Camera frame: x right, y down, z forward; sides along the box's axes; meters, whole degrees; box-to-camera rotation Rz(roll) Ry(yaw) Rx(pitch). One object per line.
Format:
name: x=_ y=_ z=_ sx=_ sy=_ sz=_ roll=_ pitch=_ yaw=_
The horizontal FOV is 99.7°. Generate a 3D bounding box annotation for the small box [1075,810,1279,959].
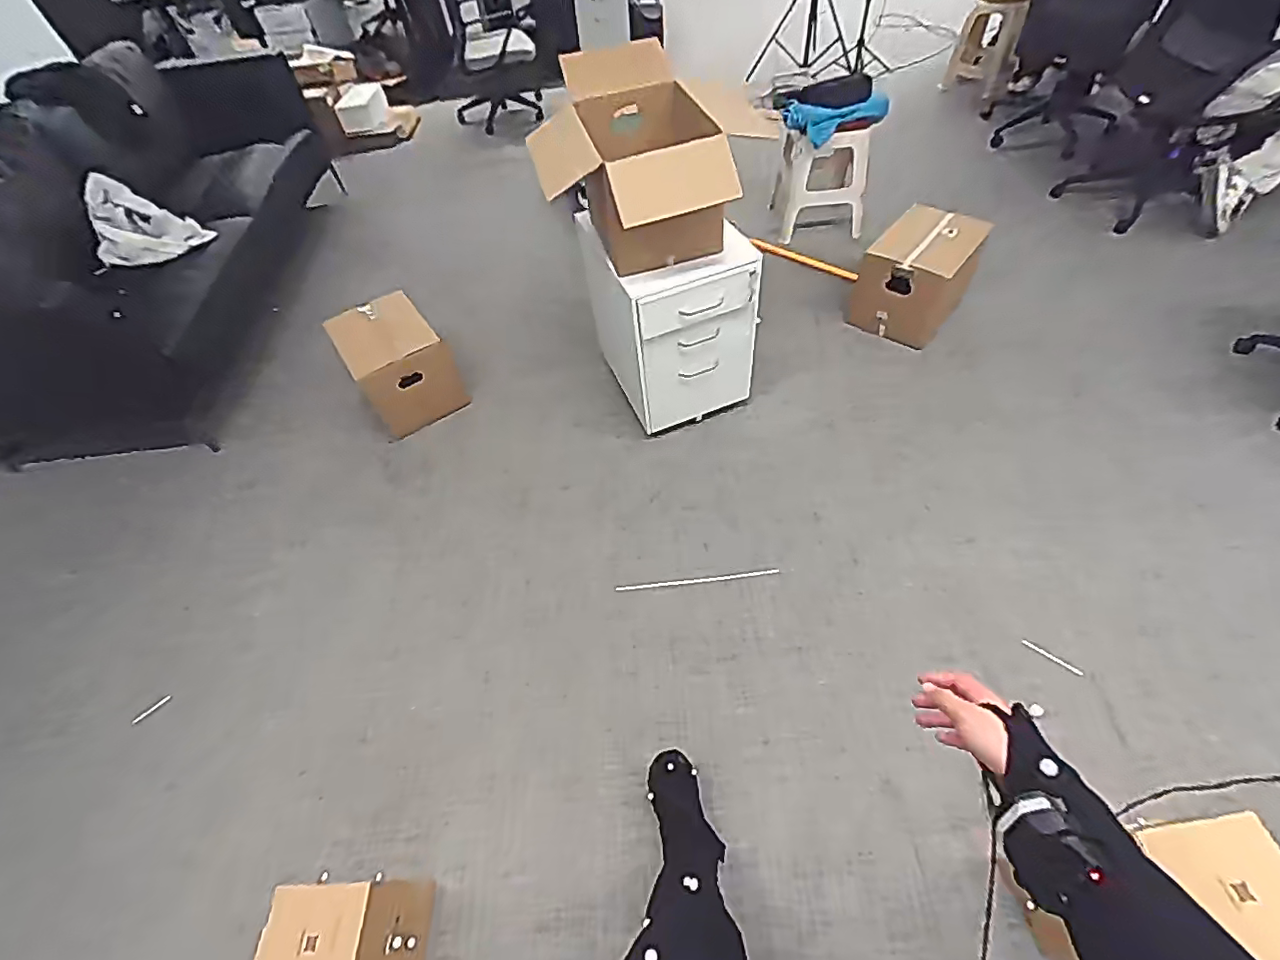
small box: x=0.789 y=0.587 z=0.772 sx=0.179 sy=0.176 sz=0.168 roll=-11 pitch=52 yaw=0

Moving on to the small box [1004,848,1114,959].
small box: x=0.833 y=0.791 z=1.023 sx=0.179 sy=0.176 sz=0.168 roll=-12 pitch=53 yaw=-3

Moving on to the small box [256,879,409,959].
small box: x=-0.549 y=0.825 z=0.972 sx=0.179 sy=0.176 sz=0.168 roll=-5 pitch=54 yaw=2

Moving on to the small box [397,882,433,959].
small box: x=-0.541 y=0.929 z=1.097 sx=0.168 sy=0.176 sz=0.179 roll=-6 pitch=53 yaw=3

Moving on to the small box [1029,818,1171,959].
small box: x=0.810 y=0.679 z=0.904 sx=0.179 sy=0.176 sz=0.168 roll=-10 pitch=52 yaw=1
